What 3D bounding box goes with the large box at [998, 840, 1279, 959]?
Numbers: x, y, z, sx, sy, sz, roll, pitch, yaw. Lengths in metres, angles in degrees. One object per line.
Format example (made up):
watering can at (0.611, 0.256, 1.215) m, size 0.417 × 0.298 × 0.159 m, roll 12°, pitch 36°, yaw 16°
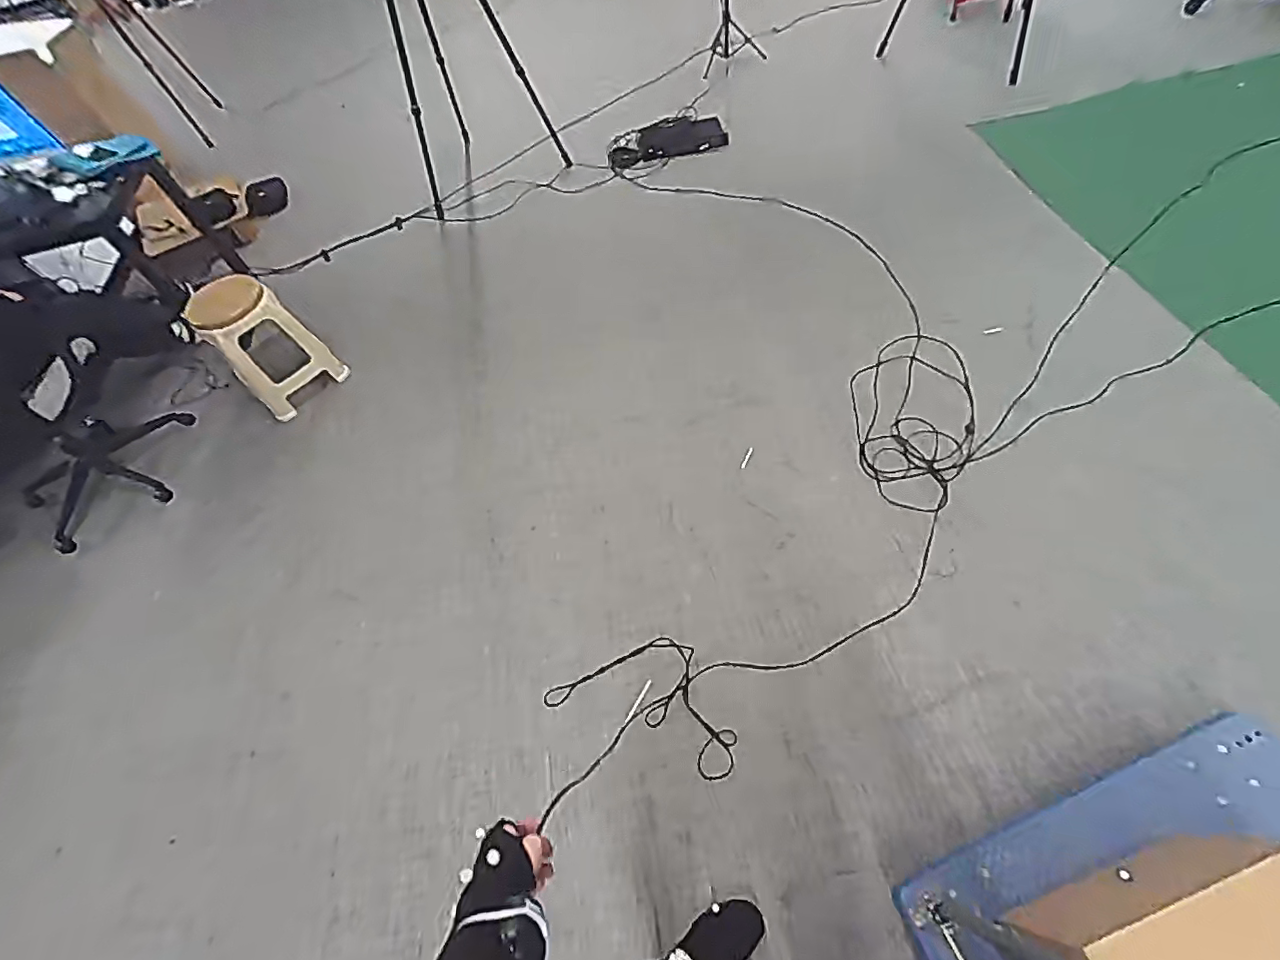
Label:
large box at (0.890, 0.815, 0.844) m, size 0.408 × 0.320 × 0.320 m, roll -20°, pitch 57°, yaw -5°
